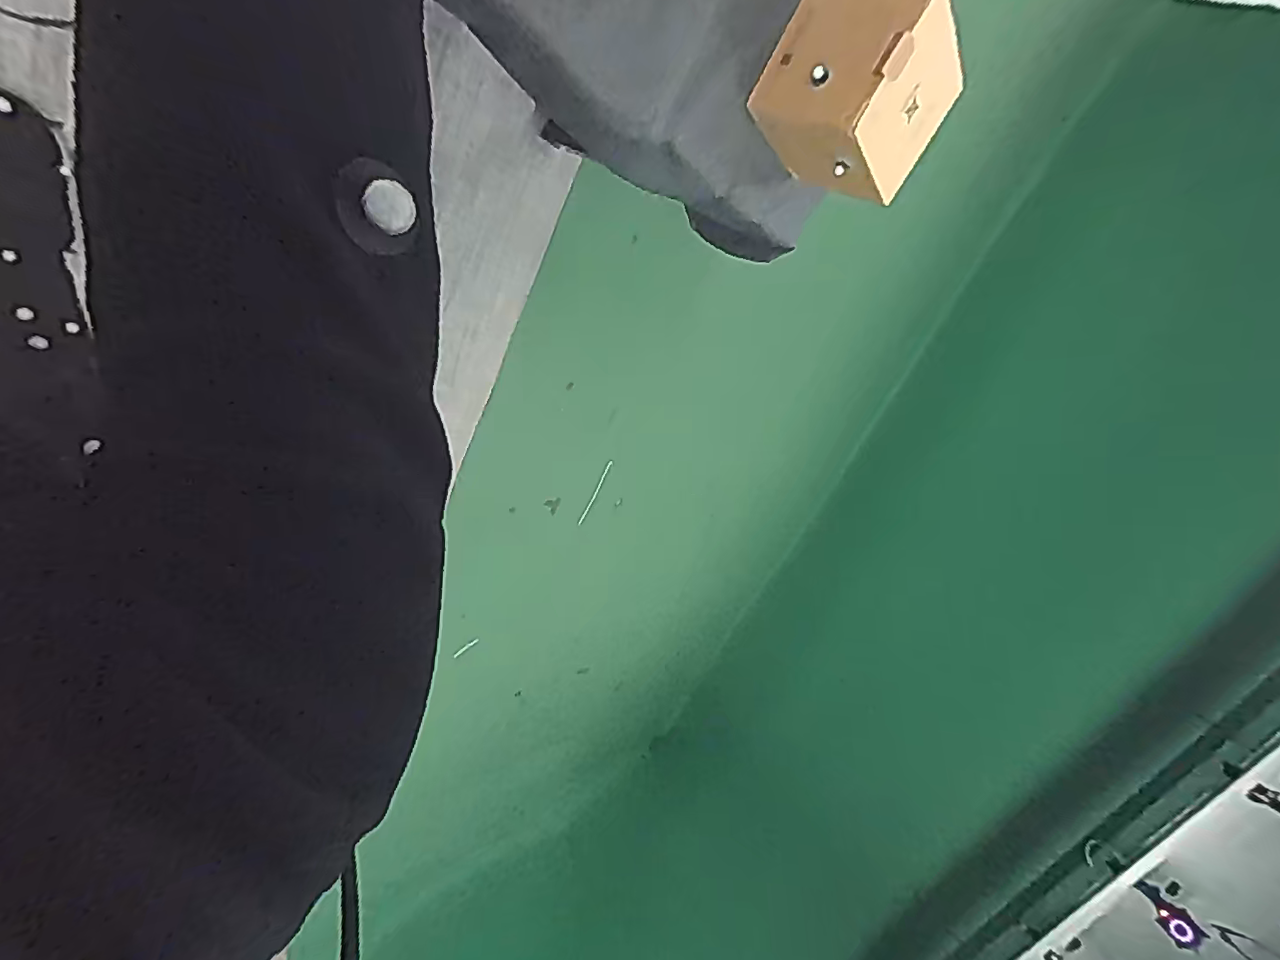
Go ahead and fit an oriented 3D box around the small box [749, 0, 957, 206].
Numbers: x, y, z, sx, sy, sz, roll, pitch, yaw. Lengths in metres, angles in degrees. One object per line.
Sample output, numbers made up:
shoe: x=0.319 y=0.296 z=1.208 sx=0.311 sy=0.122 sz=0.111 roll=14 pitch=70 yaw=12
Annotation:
small box: x=0.271 y=-0.495 z=0.699 sx=0.179 sy=0.176 sz=0.168 roll=10 pitch=116 yaw=-54
